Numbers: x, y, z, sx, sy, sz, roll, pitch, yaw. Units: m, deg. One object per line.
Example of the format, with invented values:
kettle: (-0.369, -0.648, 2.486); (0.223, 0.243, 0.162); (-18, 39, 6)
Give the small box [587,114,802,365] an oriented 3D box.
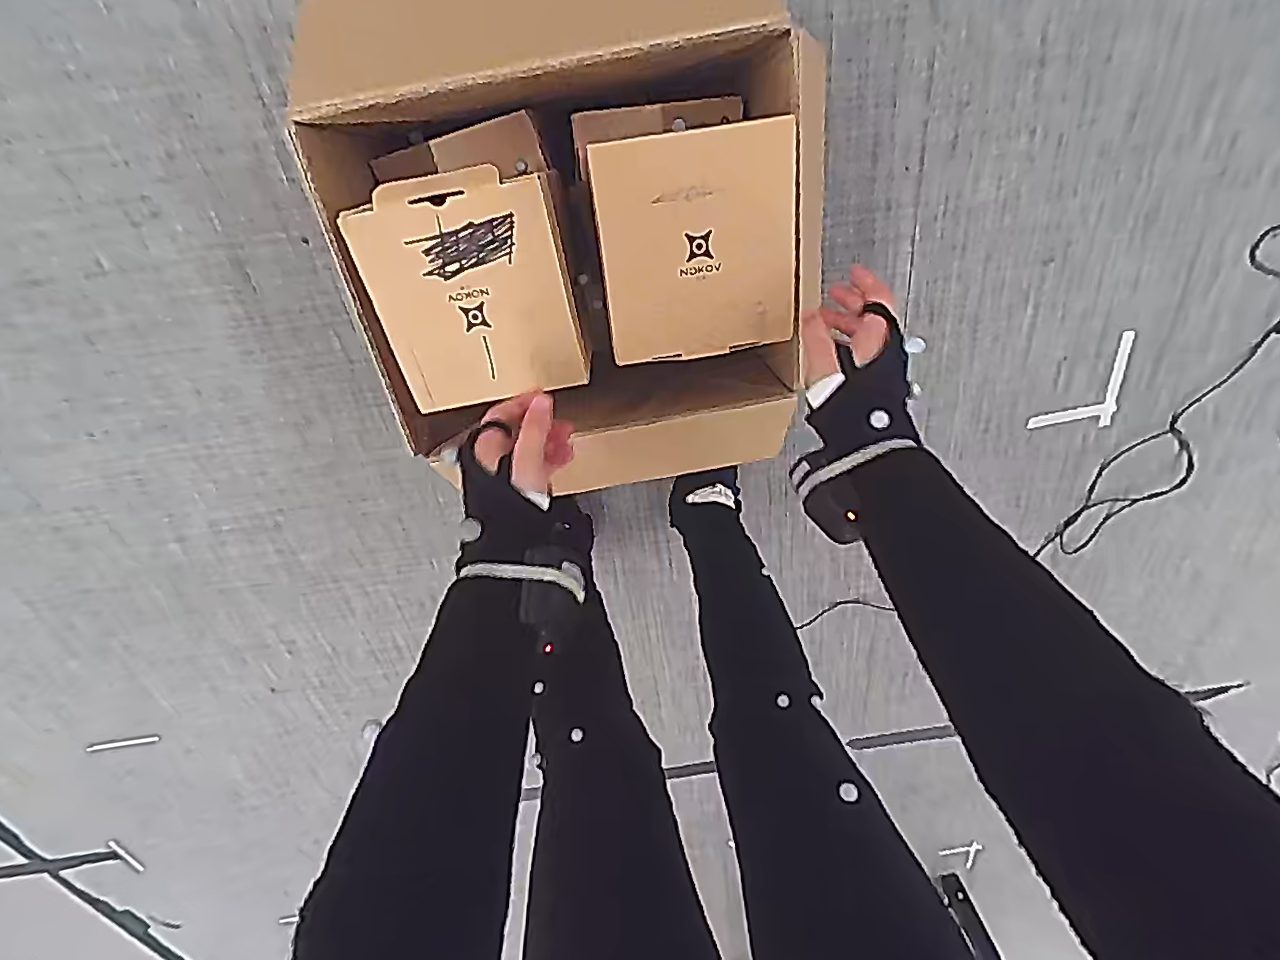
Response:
small box: (0.045, -0.228, 0.517); (0.168, 0.176, 0.179); (-10, 118, -2)
